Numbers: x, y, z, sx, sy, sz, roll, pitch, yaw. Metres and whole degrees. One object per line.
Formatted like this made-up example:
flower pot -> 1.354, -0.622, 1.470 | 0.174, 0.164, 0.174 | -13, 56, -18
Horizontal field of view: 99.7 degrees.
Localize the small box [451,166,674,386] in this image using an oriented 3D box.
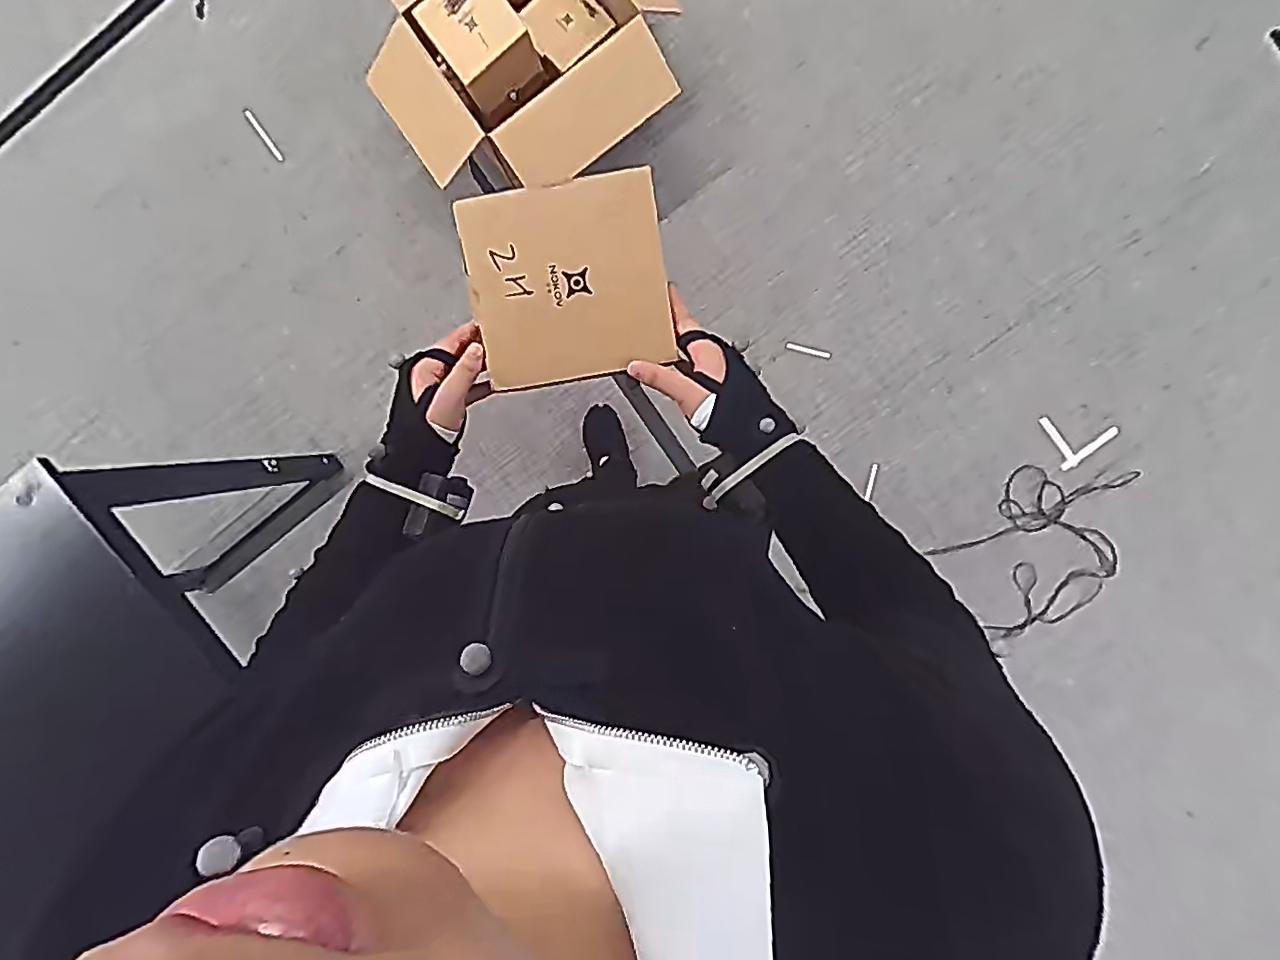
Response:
small box -> -0.067, -0.194, 0.557 | 0.179, 0.176, 0.168 | -9, 101, 2
